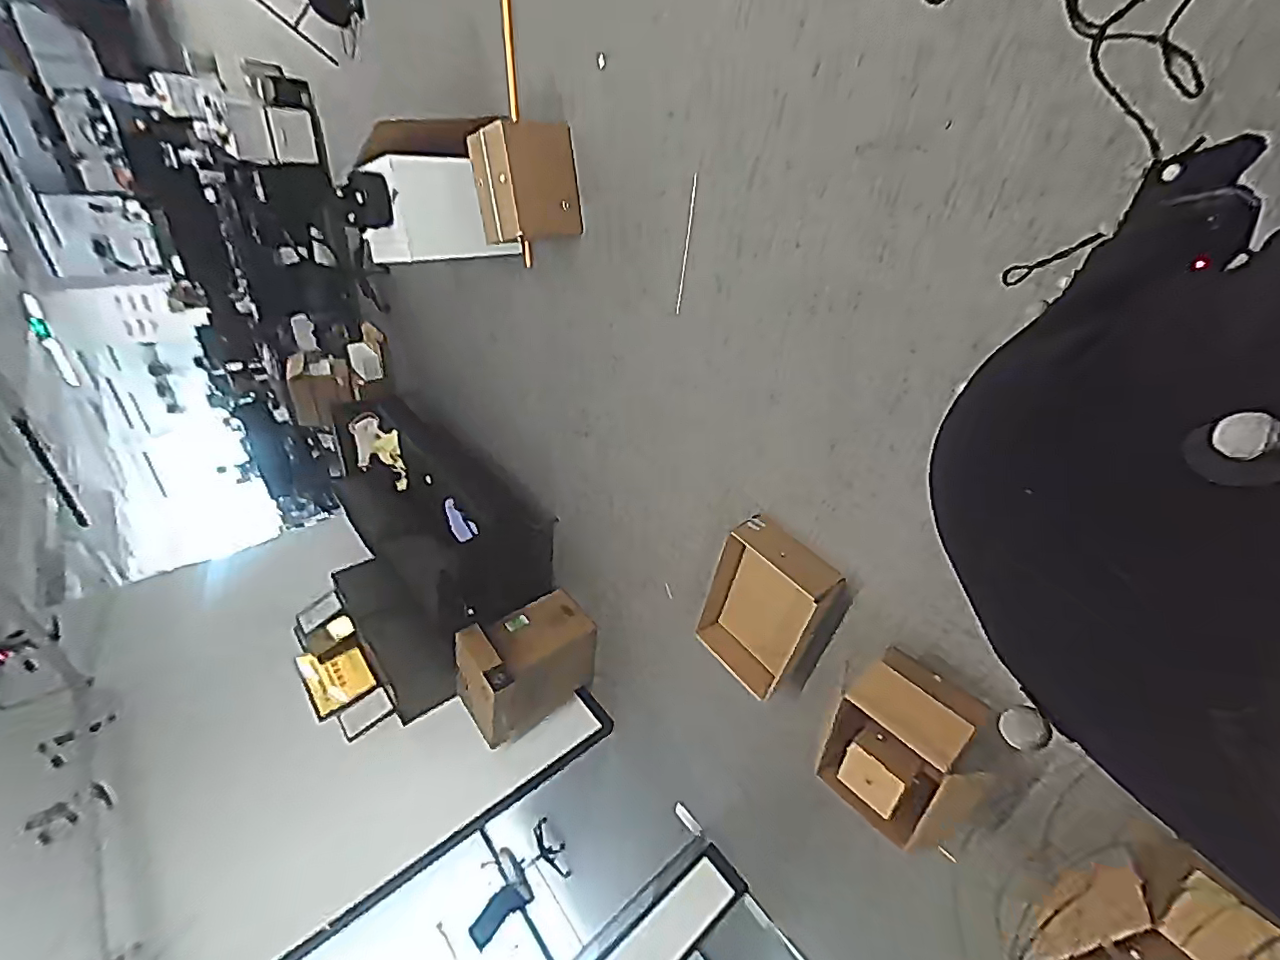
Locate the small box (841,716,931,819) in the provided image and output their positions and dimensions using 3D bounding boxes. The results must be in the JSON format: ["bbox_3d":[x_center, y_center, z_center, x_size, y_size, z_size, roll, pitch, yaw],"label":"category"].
[{"bbox_3d":[0.731,0.842,1.600,0.168,0.176,0.179,33,130,40],"label":"small box"}]
